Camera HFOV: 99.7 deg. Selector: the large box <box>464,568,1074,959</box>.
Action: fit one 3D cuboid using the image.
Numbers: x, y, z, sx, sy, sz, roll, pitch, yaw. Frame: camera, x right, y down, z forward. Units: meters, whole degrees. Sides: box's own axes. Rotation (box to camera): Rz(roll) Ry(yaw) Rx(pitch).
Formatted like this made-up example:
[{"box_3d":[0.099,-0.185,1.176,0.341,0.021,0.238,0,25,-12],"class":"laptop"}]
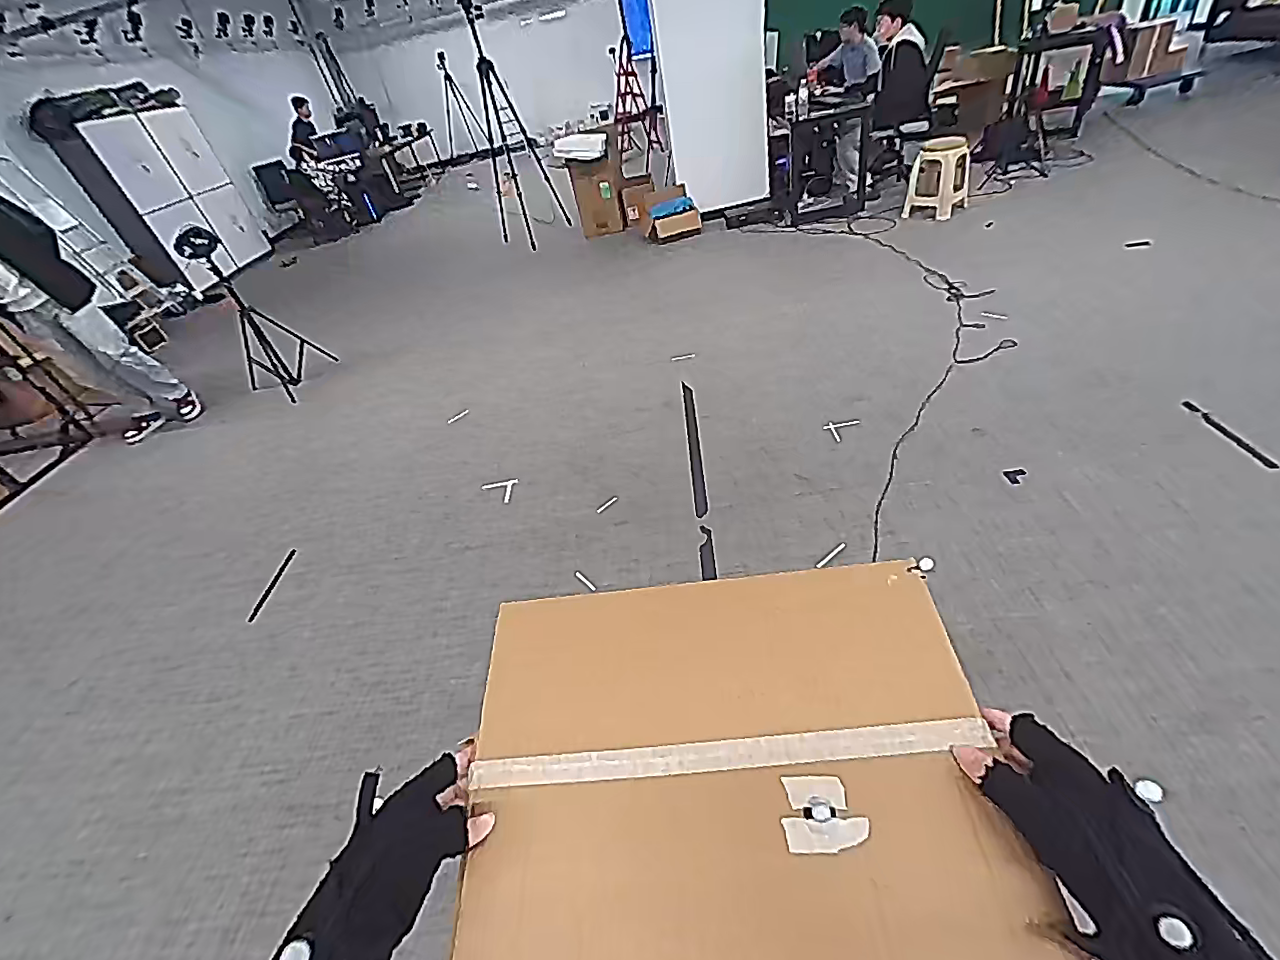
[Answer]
[{"box_3d":[0.089,0.322,0.548,0.408,0.320,0.320,-7,49,6],"class":"large box"}]
